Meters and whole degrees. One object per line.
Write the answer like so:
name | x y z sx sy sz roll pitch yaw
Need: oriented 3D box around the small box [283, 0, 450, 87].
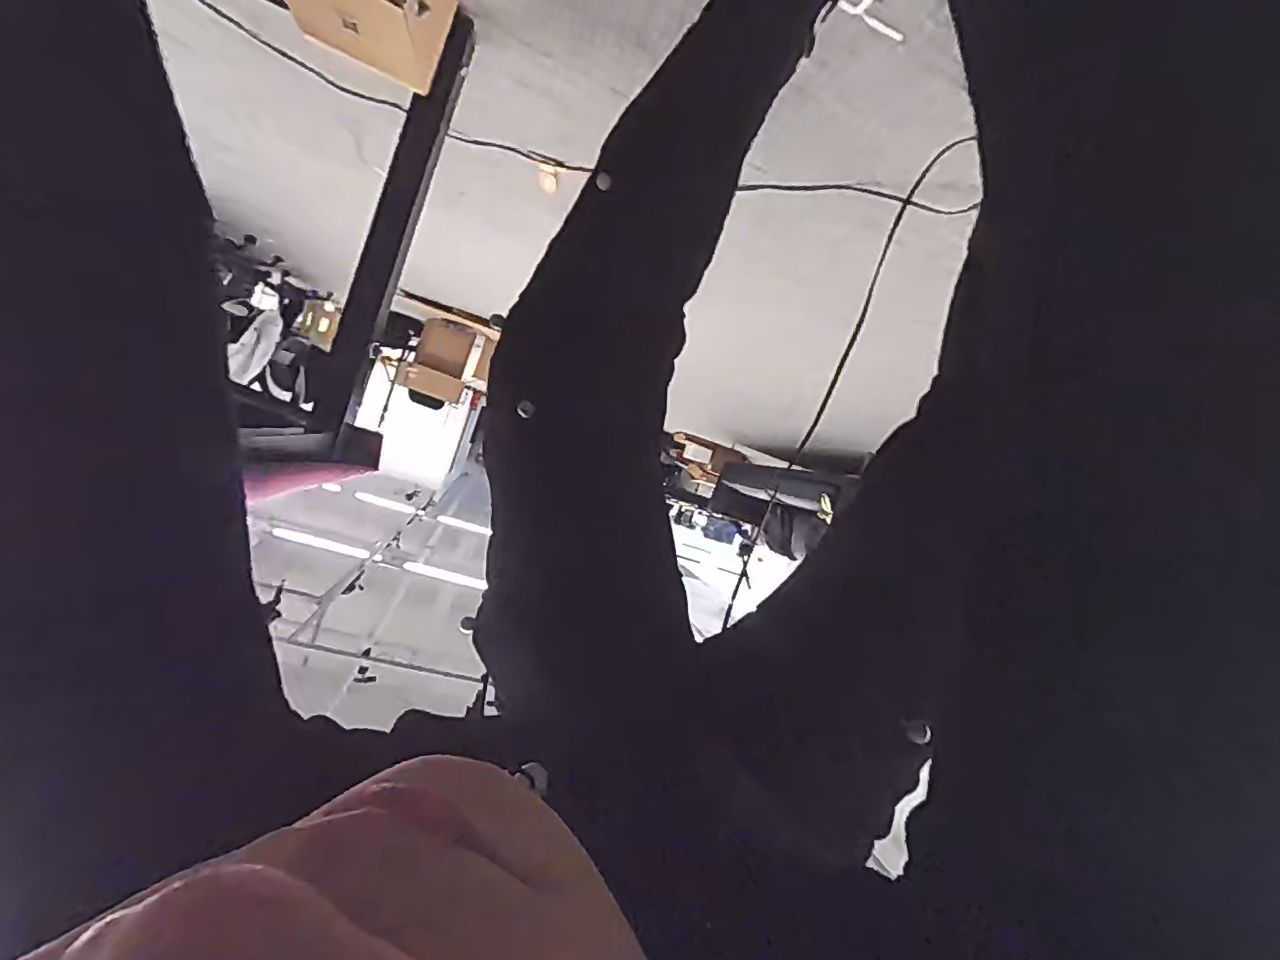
small box | -0.331 -0.641 0.651 0.168 0.176 0.179 18 -178 -14
